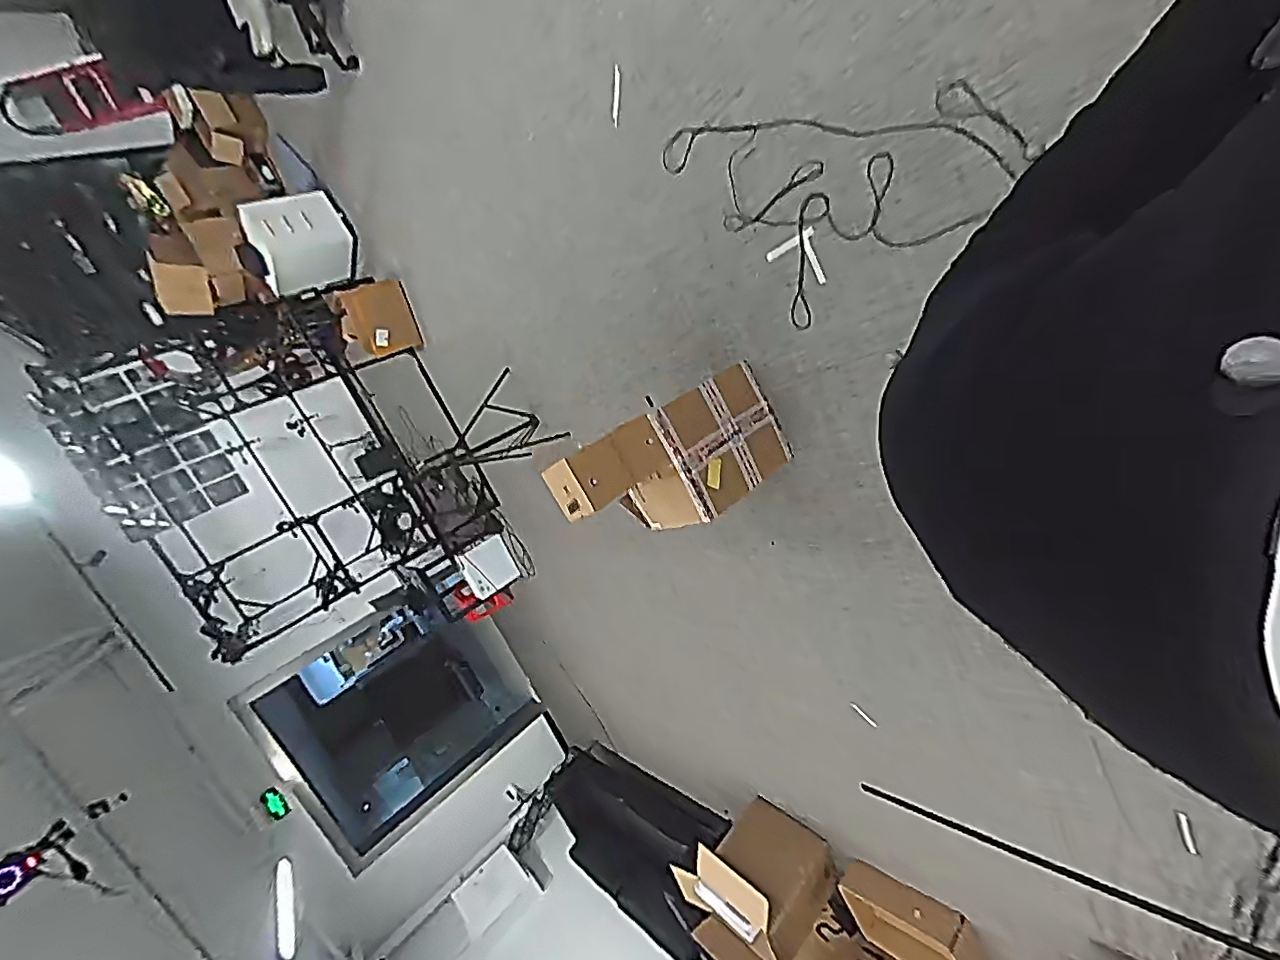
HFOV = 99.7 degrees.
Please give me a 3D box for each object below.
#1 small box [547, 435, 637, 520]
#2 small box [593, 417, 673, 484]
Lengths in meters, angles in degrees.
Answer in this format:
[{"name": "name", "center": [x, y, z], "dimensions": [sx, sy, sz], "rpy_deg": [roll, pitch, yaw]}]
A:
[{"name": "small box", "center": [-0.138, -0.008, 1.599], "dimensions": [0.168, 0.176, 0.179], "rpy_deg": [-25, 97, 54]}, {"name": "small box", "center": [-0.030, -0.082, 1.700], "dimensions": [0.168, 0.176, 0.179], "rpy_deg": [-25, 96, 54]}]
